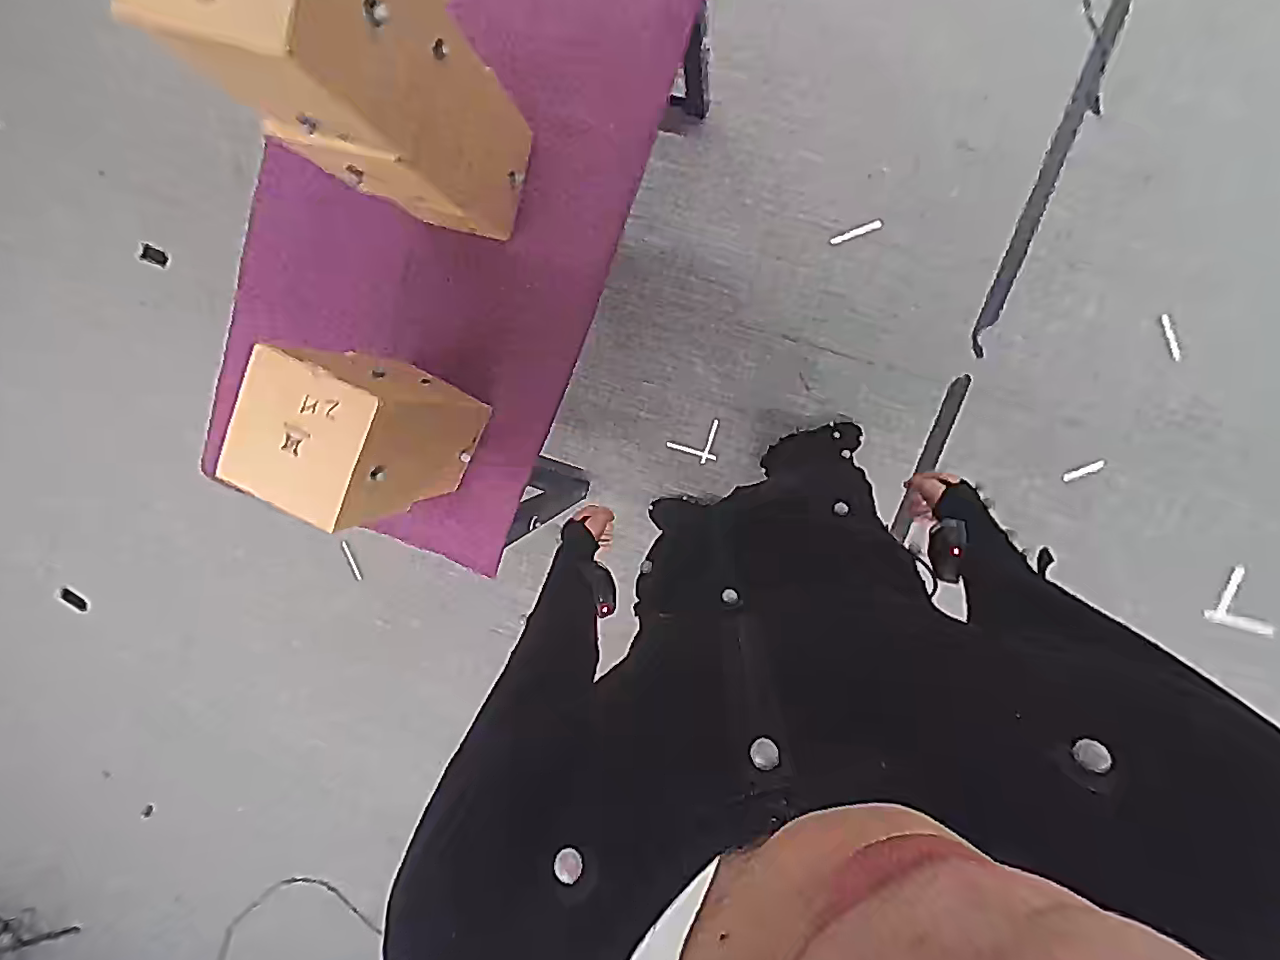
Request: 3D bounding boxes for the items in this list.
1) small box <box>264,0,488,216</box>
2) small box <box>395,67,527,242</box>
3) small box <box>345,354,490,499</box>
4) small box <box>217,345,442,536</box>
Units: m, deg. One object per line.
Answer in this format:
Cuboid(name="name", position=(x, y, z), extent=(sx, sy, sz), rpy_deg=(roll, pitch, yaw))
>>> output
Cuboid(name="small box", position=(-0.305, -0.448, 0.654), extent=(0.168, 0.176, 0.179), rpy_deg=(16, 98, 7))
Cuboid(name="small box", position=(-0.285, -0.487, 0.812), extent=(0.168, 0.176, 0.179), rpy_deg=(16, 98, 7))
Cuboid(name="small box", position=(-0.376, -0.082, 0.870), extent=(0.179, 0.176, 0.168), rpy_deg=(28, 99, 3))
Cuboid(name="small box", position=(-0.390, -0.054, 0.708), extent=(0.168, 0.176, 0.179), rpy_deg=(25, 99, 4))
